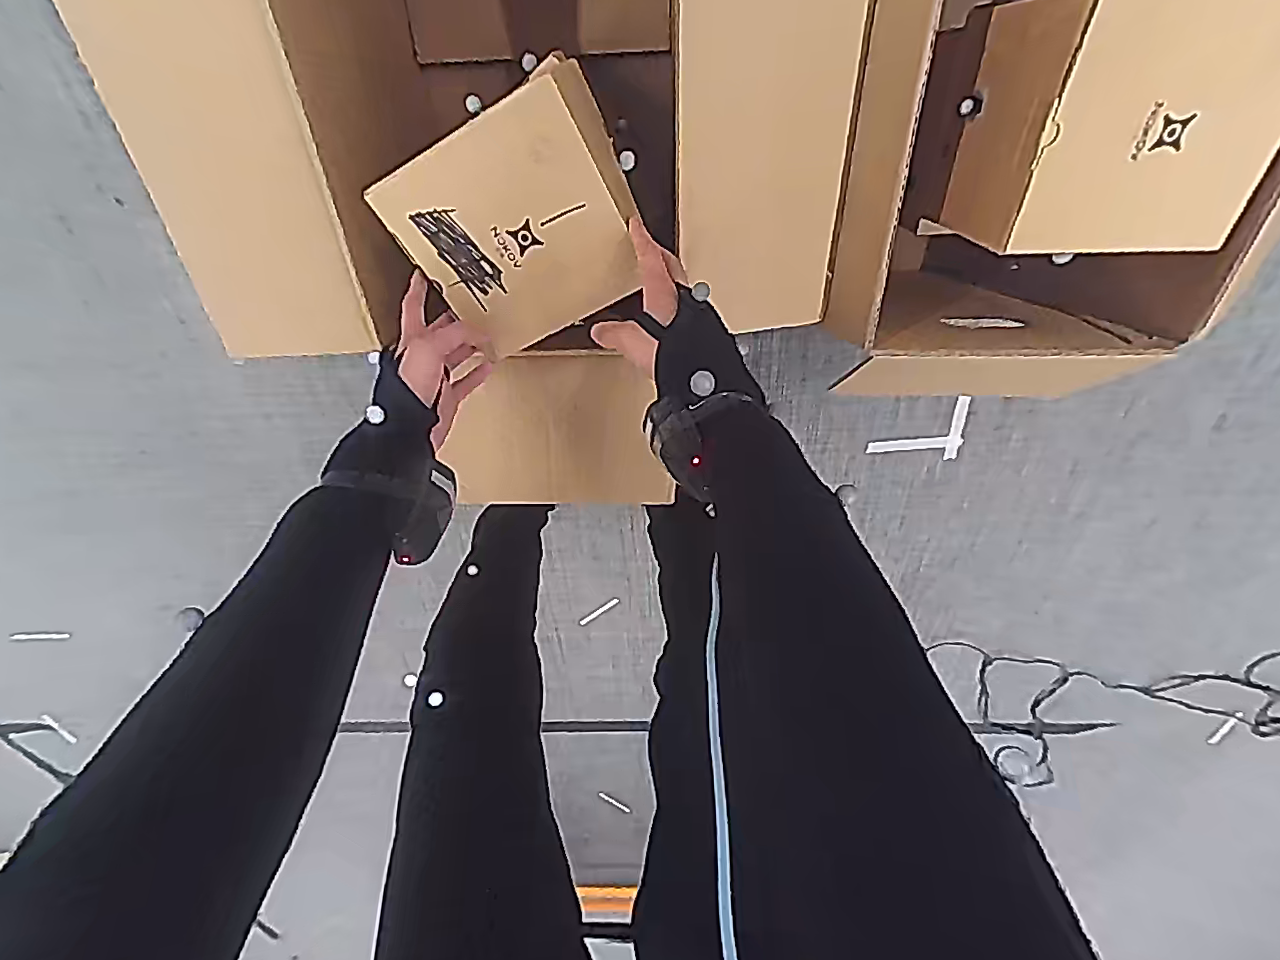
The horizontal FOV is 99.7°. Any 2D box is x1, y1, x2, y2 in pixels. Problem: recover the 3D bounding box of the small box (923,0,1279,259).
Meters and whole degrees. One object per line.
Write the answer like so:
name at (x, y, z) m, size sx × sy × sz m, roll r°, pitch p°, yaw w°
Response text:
small box at (0.376, -0.293, 0.451) m, size 0.179 × 0.176 × 0.168 m, roll 0°, pitch 127°, yaw 2°
